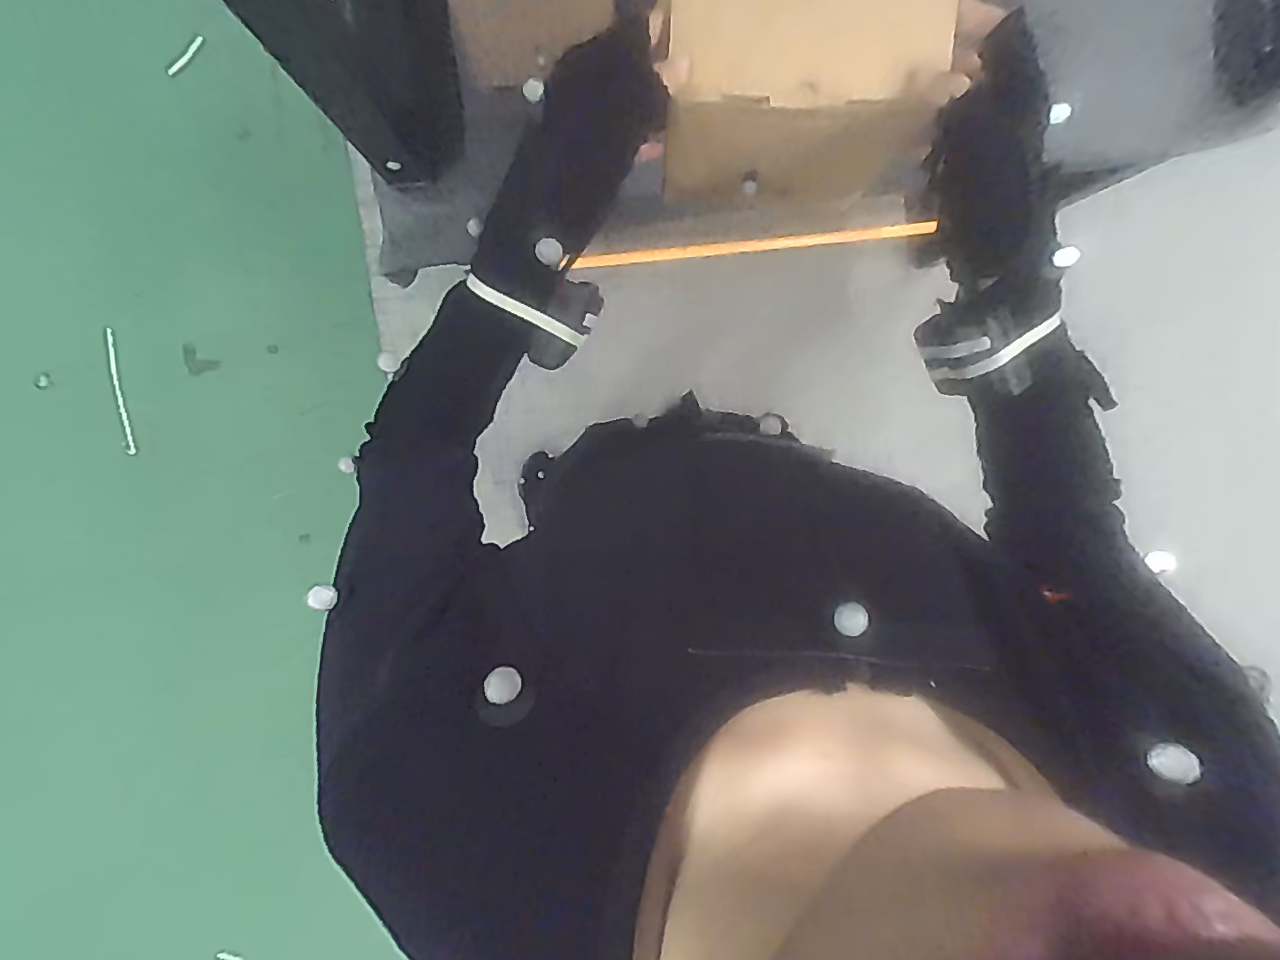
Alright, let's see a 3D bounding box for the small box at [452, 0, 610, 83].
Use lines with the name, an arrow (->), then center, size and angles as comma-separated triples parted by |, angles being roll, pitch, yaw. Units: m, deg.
small box -> -0.126, -0.575, 0.578 | 0.168, 0.176, 0.179 | -9, 97, -2
